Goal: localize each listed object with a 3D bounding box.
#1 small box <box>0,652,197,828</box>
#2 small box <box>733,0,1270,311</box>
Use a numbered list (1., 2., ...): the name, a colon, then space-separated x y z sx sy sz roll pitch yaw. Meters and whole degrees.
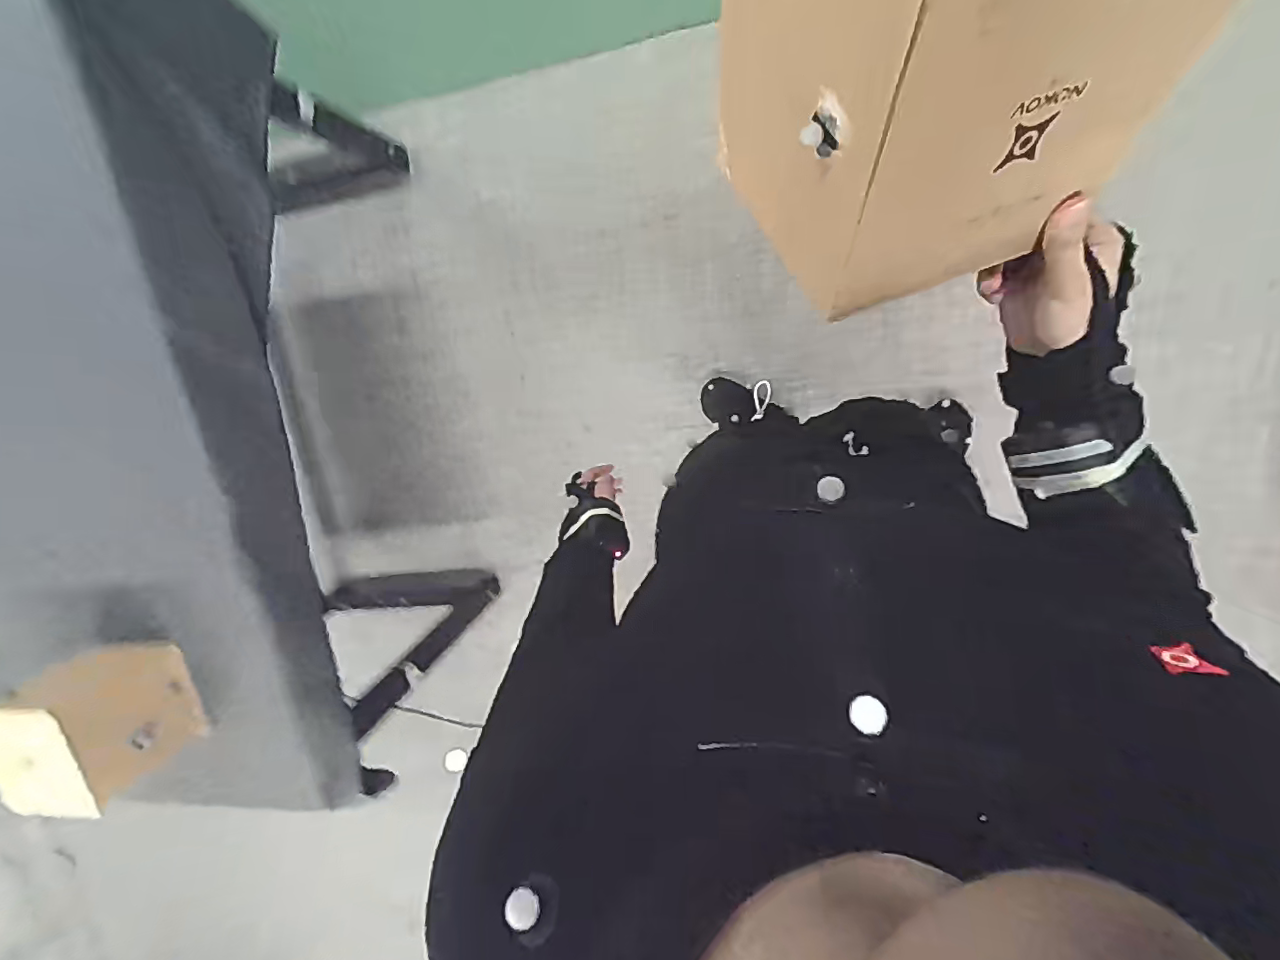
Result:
1. small box: -0.798 0.367 0.787 0.179 0.176 0.168 -7 103 14
2. small box: 0.157 -0.228 0.276 0.168 0.179 0.176 -19 64 -4
